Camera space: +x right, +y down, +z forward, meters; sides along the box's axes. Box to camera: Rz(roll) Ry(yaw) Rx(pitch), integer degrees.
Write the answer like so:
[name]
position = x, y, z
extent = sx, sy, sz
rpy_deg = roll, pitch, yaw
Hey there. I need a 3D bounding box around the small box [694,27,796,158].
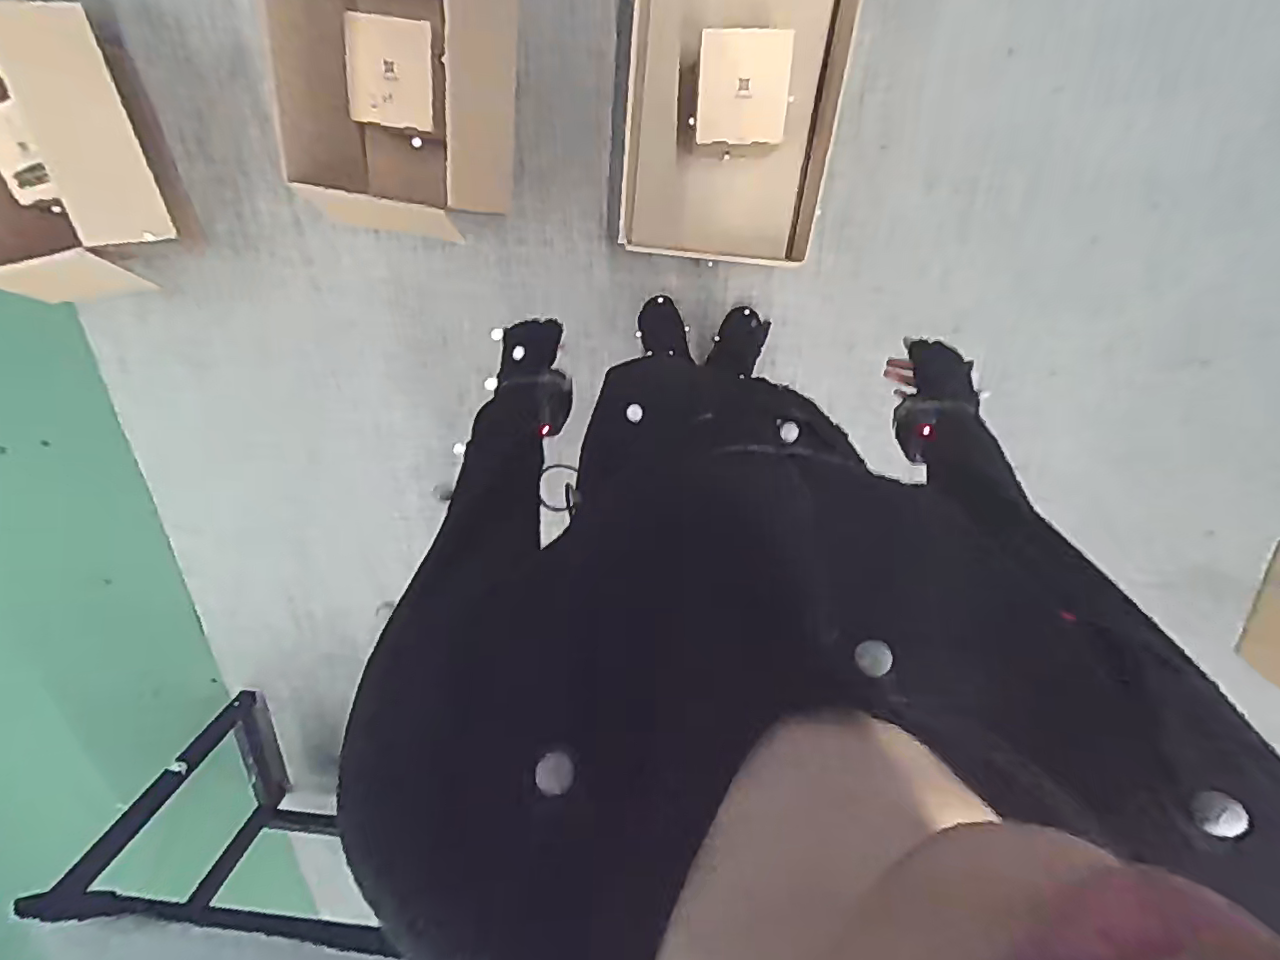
[small box]
position = 0.195, -0.746, 1.056
extent = 0.168, 0.176, 0.179
rpy_deg = 2, 114, 3
